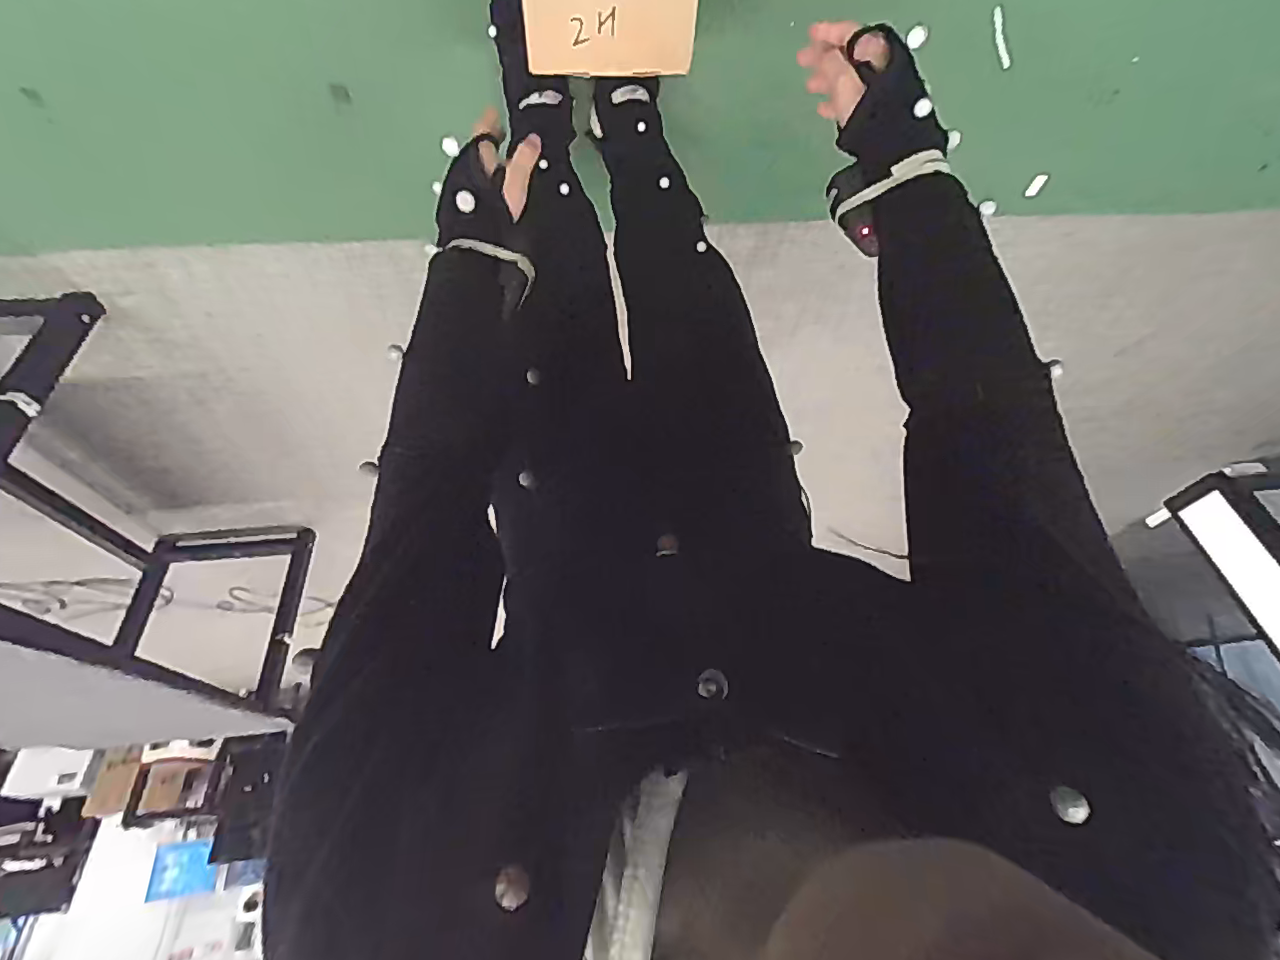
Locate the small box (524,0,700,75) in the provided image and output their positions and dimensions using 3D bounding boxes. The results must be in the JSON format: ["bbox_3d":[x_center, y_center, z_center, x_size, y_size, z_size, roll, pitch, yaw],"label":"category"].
[{"bbox_3d":[-0.032,-0.522,0.514,0.168,0.176,0.179,-4,146,-7],"label":"small box"}]
